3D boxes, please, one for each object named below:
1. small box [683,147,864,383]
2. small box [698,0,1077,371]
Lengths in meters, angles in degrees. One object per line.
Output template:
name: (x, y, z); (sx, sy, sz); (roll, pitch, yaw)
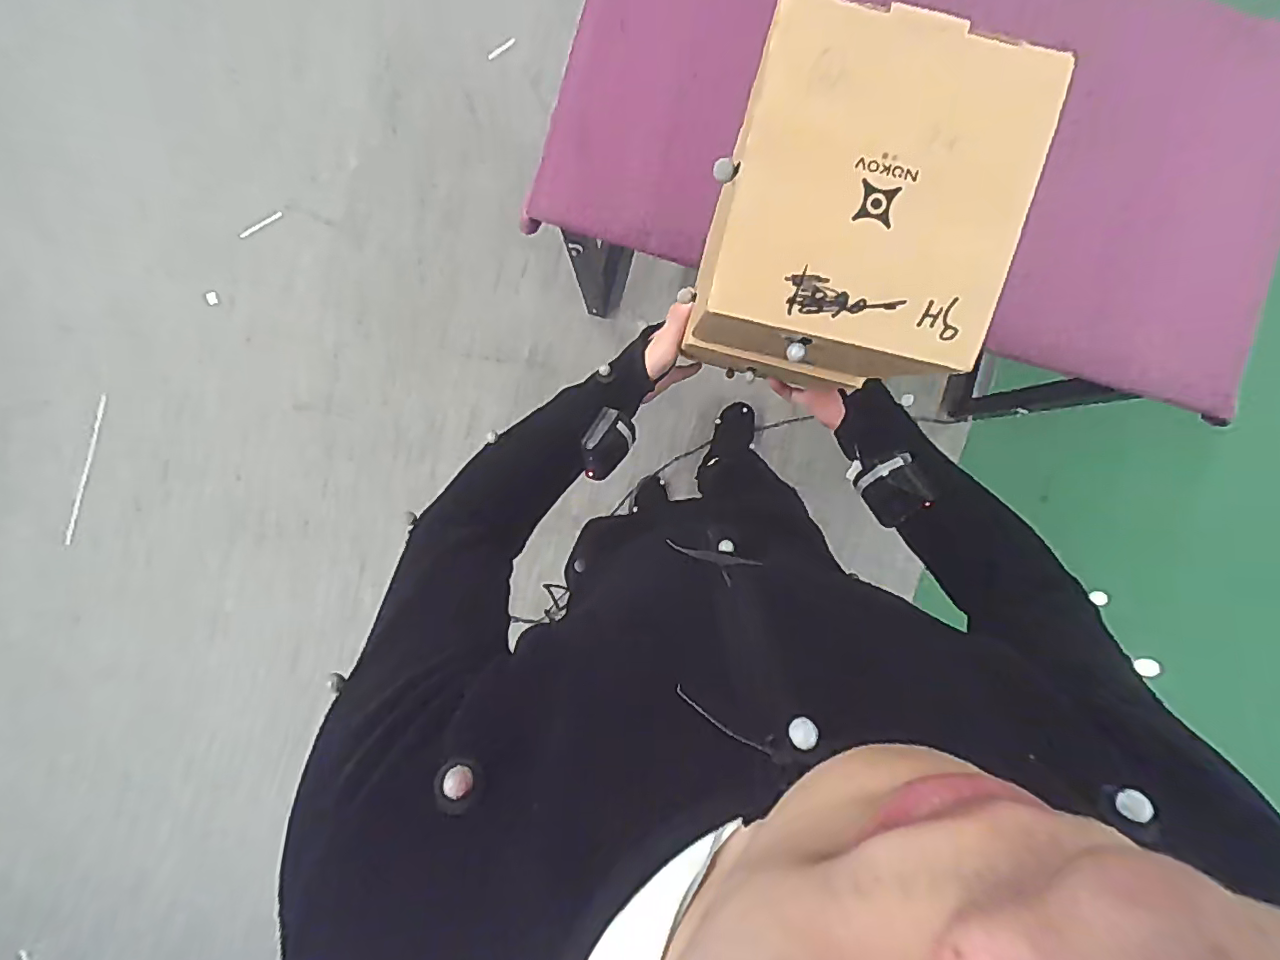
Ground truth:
small box: (0.144, -0.202, 0.544); (0.168, 0.176, 0.179); (15, 100, 0)
small box: (0.140, -0.183, 0.381); (0.168, 0.176, 0.179); (13, 100, 1)
